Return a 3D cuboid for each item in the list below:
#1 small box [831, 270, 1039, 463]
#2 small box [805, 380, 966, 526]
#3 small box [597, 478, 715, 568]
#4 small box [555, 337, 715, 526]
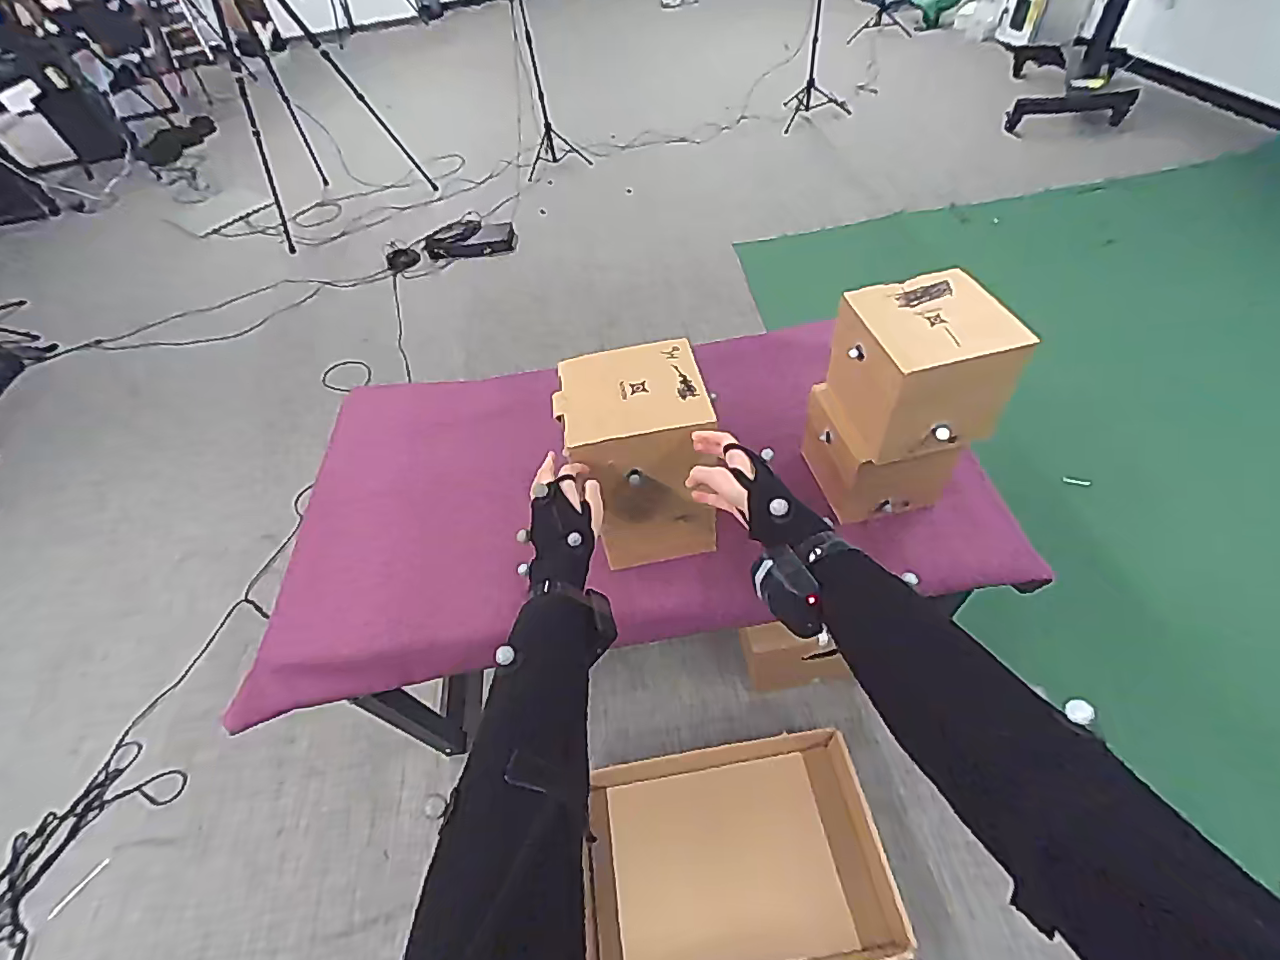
[{"bbox_3d":[0.374,-0.151,0.731,0.168,0.176,0.179,-13,50,0],"label":"small box"},{"bbox_3d":[0.377,-0.054,0.865,0.168,0.176,0.179,-13,50,0],"label":"small box"},{"bbox_3d":[0.017,0.019,0.860,0.179,0.176,0.168,-11,49,0],"label":"small box"},{"bbox_3d":[-0.005,-0.059,0.712,0.179,0.176,0.168,-11,49,0],"label":"small box"}]
